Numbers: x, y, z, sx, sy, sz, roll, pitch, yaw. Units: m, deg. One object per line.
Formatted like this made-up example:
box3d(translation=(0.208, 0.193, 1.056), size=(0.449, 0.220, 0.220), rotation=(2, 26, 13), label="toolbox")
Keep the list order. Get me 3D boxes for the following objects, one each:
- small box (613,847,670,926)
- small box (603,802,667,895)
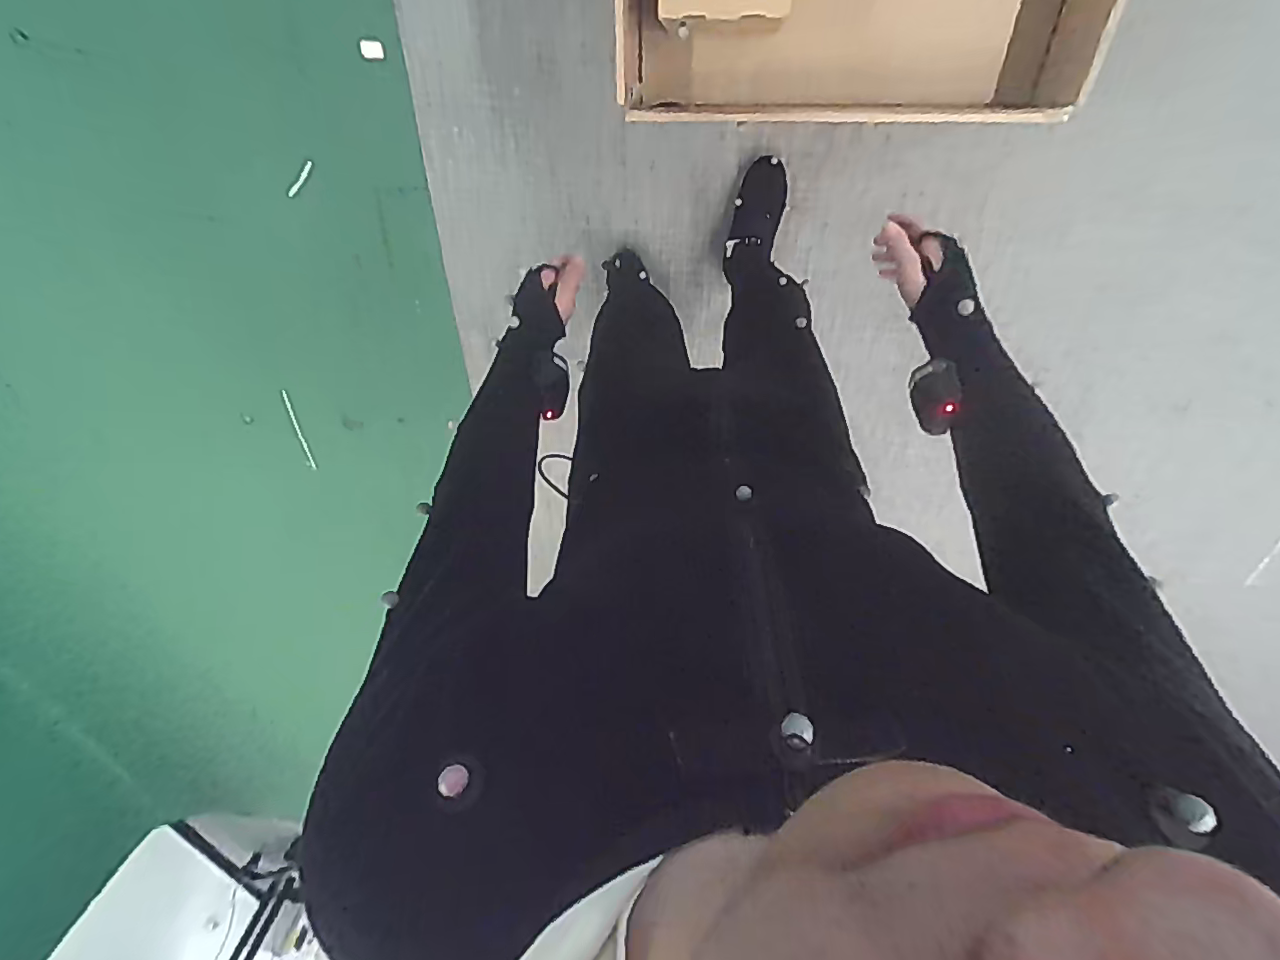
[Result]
box3d(translation=(0.009, 1.293, 1.738), size=(0.168, 0.176, 0.179), rotation=(1, 124, 6), label="small box")
box3d(translation=(-0.008, 1.078, 1.586), size=(0.168, 0.176, 0.179), rotation=(2, 126, 6), label="small box")
